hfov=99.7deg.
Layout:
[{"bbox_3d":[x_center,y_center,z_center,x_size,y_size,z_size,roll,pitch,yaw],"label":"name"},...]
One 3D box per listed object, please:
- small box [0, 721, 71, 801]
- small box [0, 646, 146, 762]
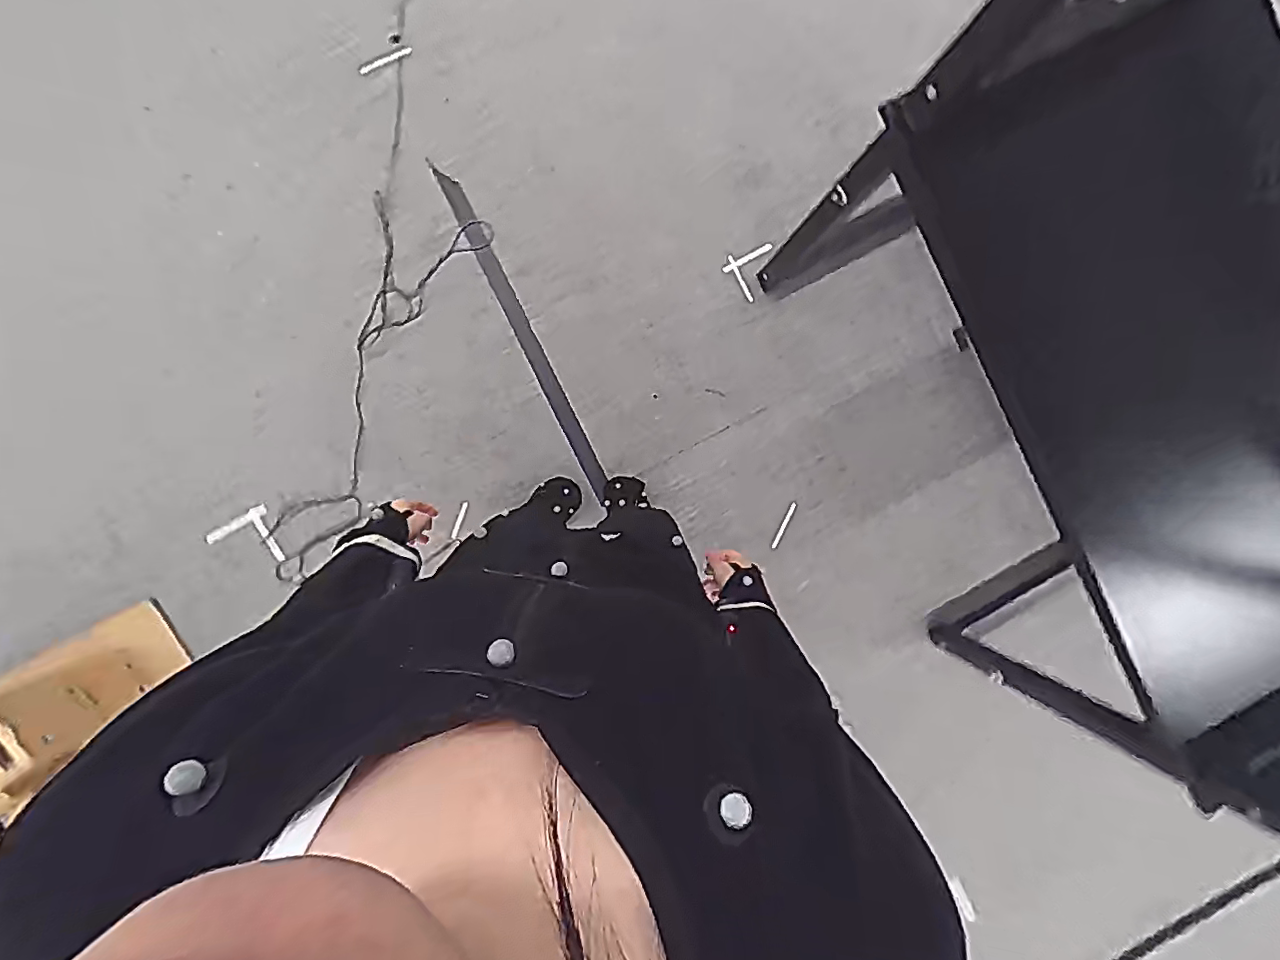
[{"bbox_3d":[-1.596,0.701,1.330,0.168,0.176,0.179,-33,95,-1],"label":"small box"},{"bbox_3d":[-1.389,0.541,1.336,0.179,0.176,0.168,-33,95,-2],"label":"small box"}]
